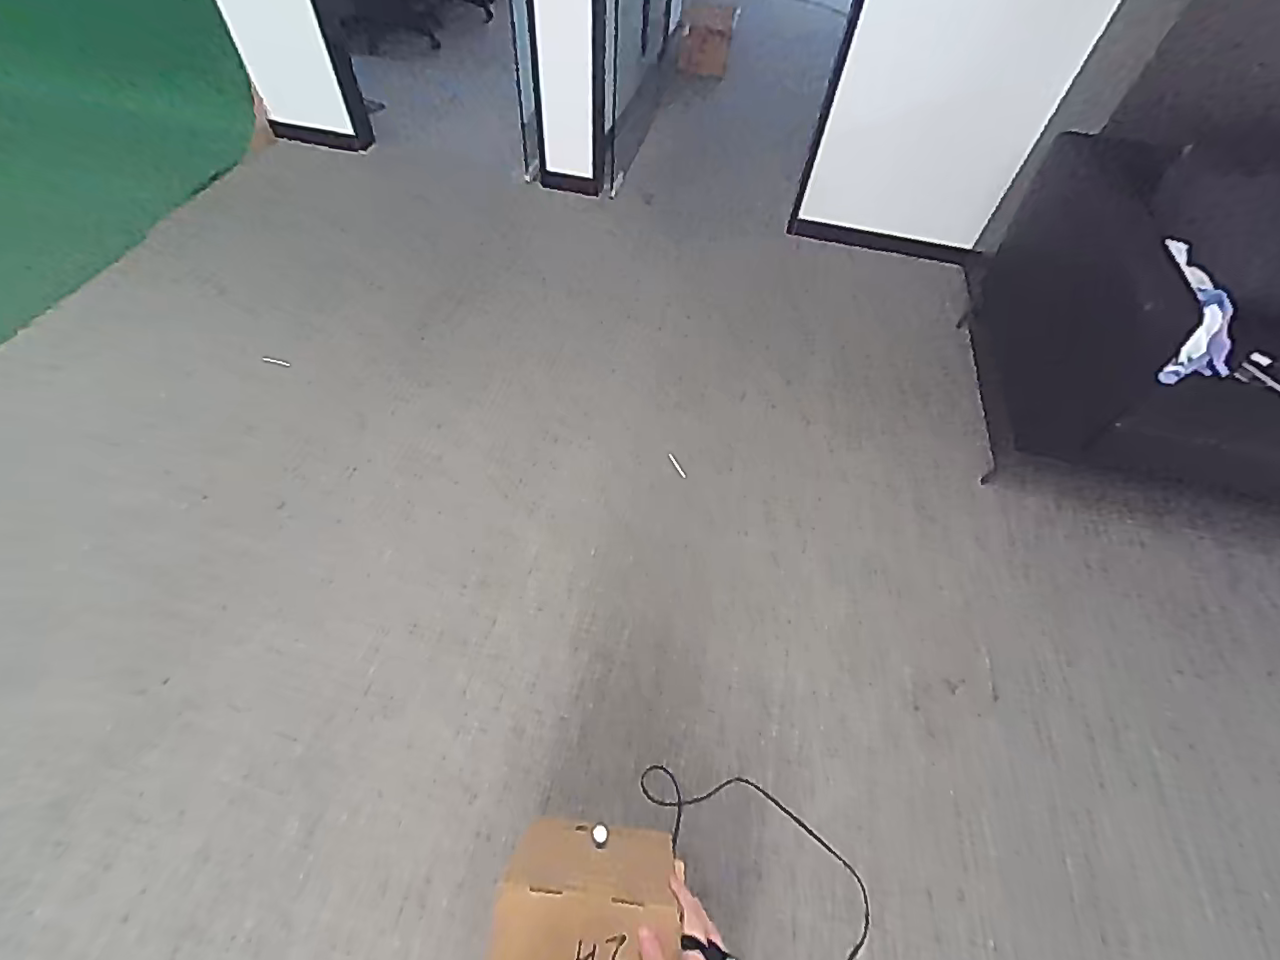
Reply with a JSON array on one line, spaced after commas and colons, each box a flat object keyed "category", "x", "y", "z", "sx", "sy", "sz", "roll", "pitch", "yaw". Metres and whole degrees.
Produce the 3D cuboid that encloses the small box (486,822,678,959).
[{"category": "small box", "x": -0.055, "y": 0.476, "z": 0.534, "sx": 0.168, "sy": 0.176, "sz": 0.179, "roll": 6, "pitch": 77, "yaw": 2}]
